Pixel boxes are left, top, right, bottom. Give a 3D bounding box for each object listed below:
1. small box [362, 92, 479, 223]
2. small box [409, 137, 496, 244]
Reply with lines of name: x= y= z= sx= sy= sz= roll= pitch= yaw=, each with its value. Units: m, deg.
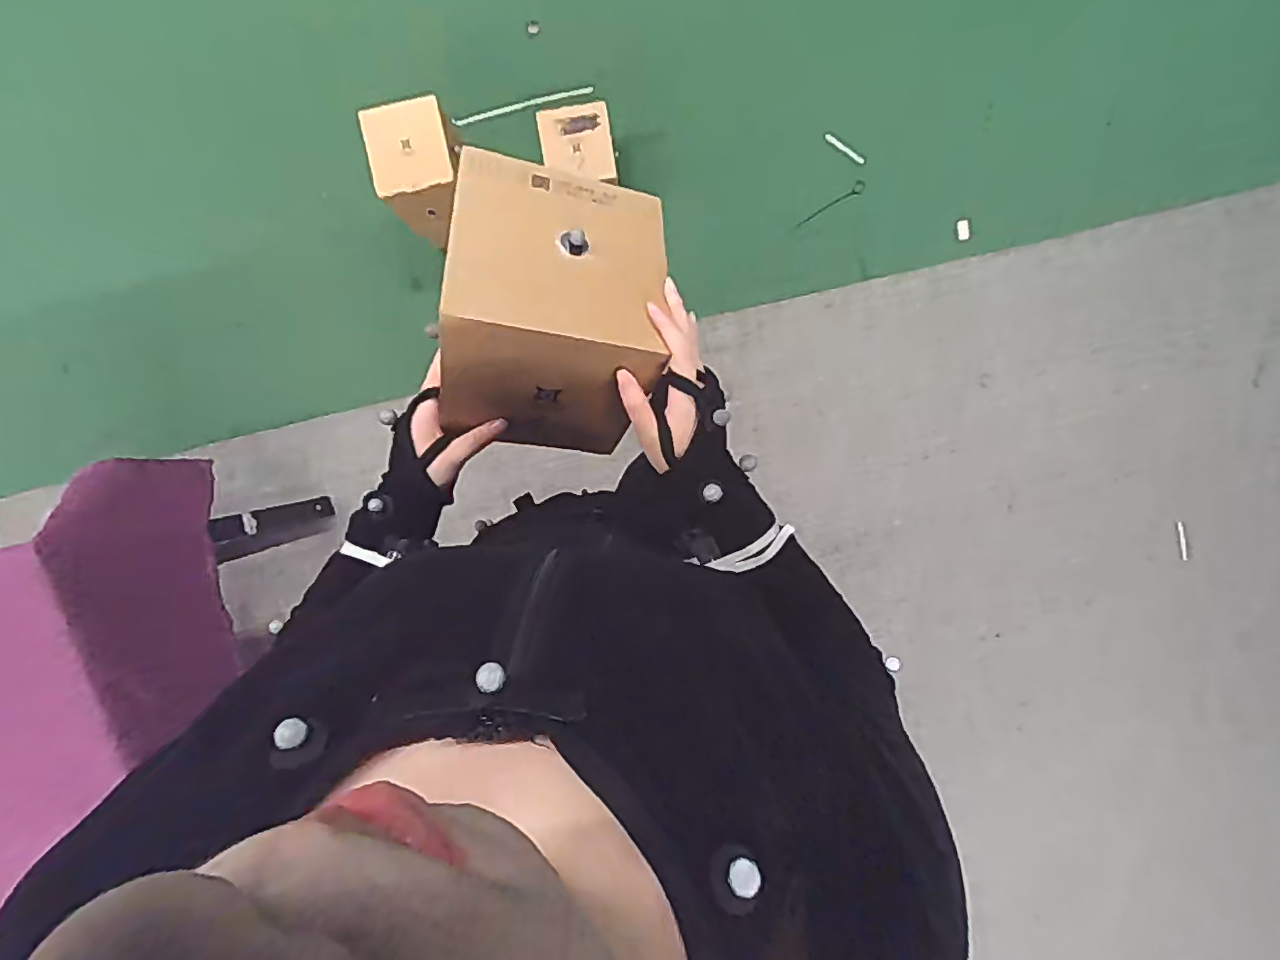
small box: x=-0.471 y=-0.695 z=1.182 sx=0.168 sy=0.176 sz=0.179 roll=-11 pitch=95 yaw=2
small box: x=-0.470 y=-0.711 z=1.345 sx=0.179 sy=0.176 sz=0.168 roll=-12 pitch=94 yaw=3
